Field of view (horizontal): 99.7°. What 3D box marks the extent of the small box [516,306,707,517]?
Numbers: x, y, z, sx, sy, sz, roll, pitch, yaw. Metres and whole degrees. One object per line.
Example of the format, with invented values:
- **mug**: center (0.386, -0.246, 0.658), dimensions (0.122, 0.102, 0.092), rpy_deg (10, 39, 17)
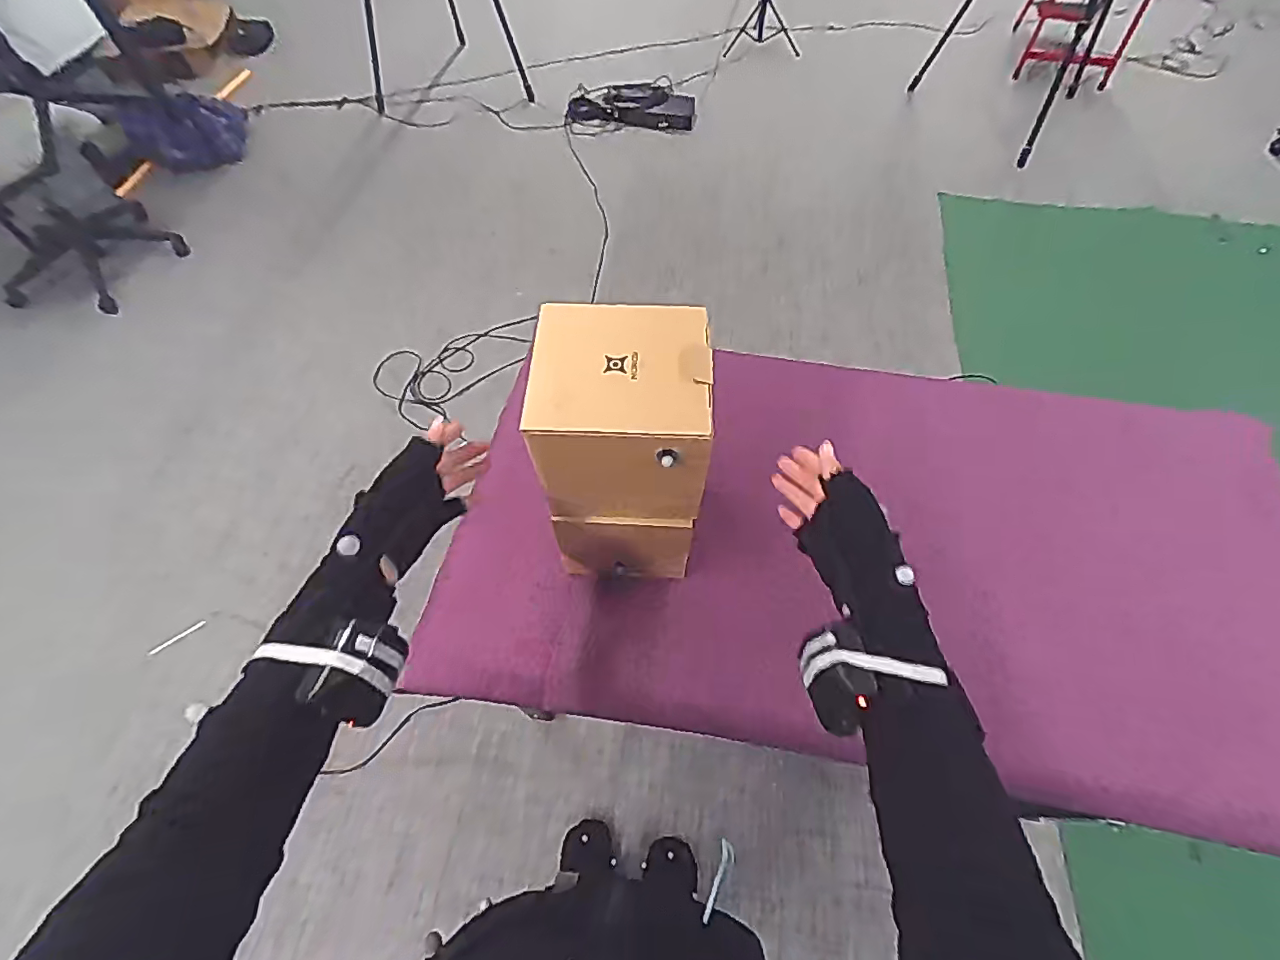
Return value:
- **small box**: center (-0.022, -0.069, 0.592), dimensions (0.179, 0.176, 0.168), rpy_deg (1, 59, 1)
